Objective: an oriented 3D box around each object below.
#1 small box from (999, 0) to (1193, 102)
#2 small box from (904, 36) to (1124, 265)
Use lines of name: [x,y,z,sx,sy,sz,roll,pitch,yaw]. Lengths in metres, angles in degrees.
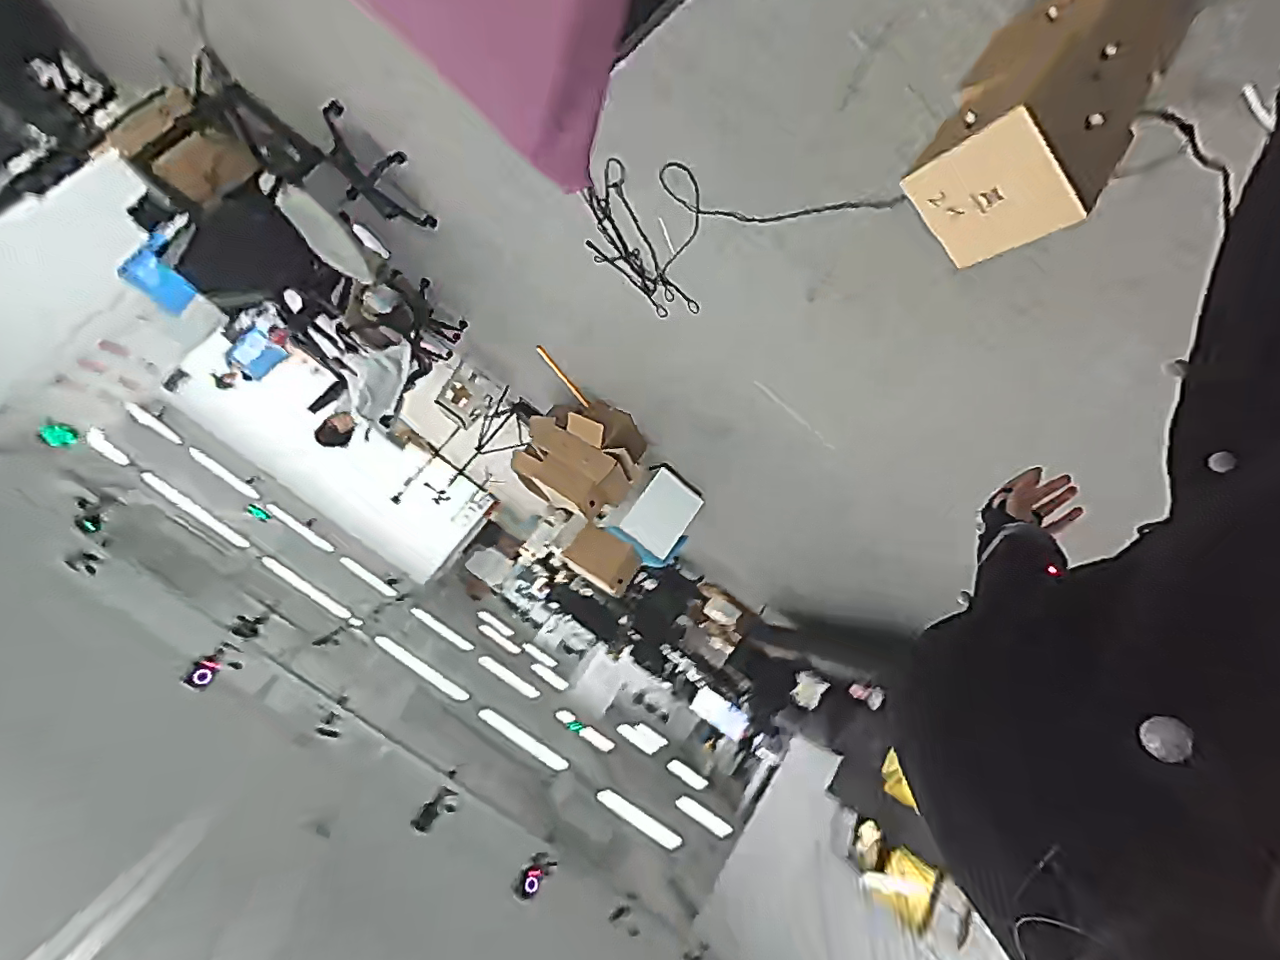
small box: [0.699,-0.693,0.829,0.179,0.176,0.168,43,163,-25]
small box: [0.513,-0.440,0.739,0.168,0.176,0.179,43,164,-17]
